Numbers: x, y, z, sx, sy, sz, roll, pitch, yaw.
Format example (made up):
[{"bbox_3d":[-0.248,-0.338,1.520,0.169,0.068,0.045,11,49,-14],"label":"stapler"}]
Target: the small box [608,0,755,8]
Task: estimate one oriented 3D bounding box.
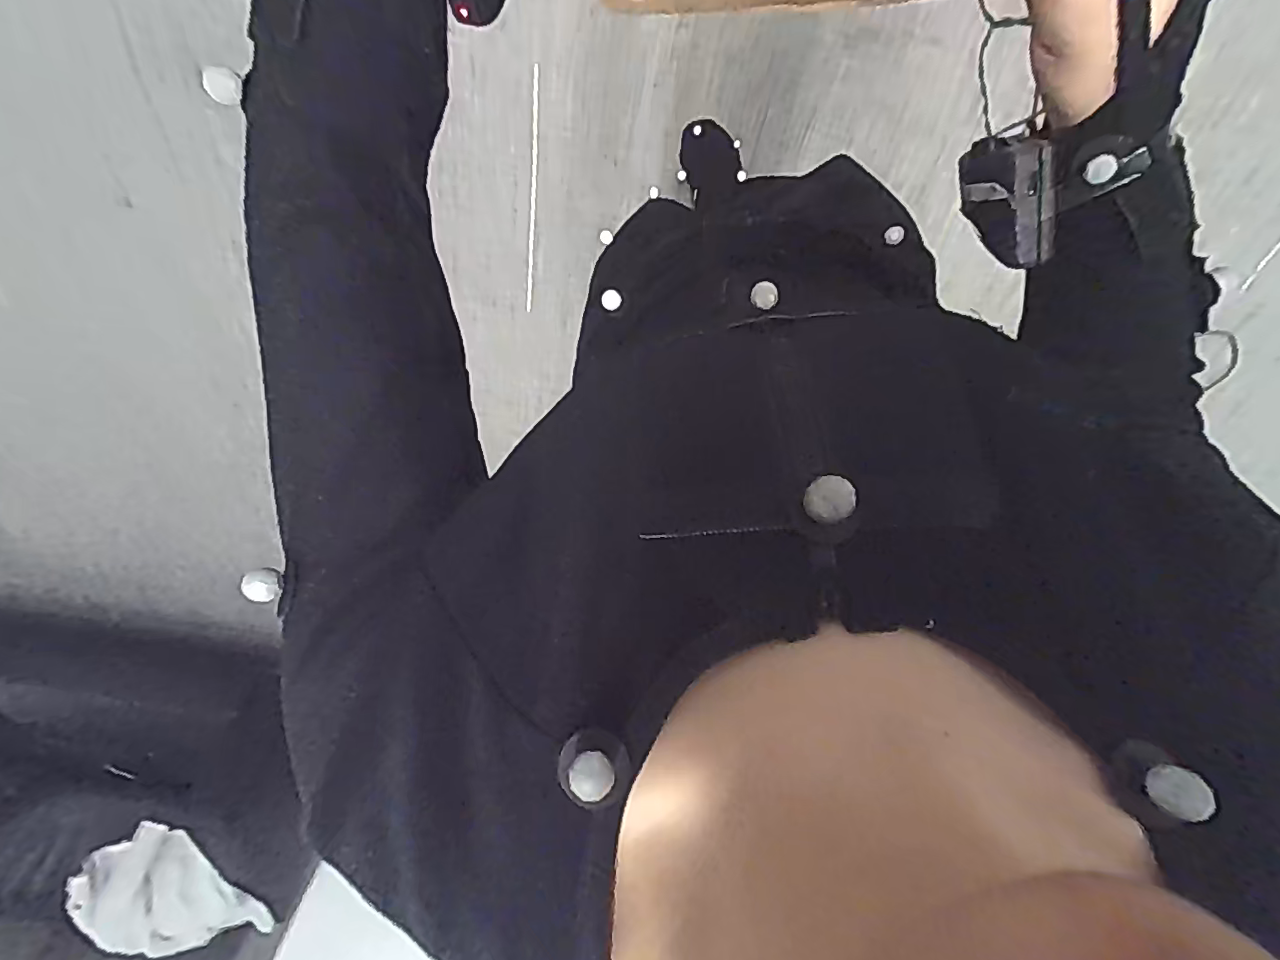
[{"bbox_3d":[0.059,-0.289,0.159,0.179,0.168,0.176,3,106,8],"label":"small box"}]
